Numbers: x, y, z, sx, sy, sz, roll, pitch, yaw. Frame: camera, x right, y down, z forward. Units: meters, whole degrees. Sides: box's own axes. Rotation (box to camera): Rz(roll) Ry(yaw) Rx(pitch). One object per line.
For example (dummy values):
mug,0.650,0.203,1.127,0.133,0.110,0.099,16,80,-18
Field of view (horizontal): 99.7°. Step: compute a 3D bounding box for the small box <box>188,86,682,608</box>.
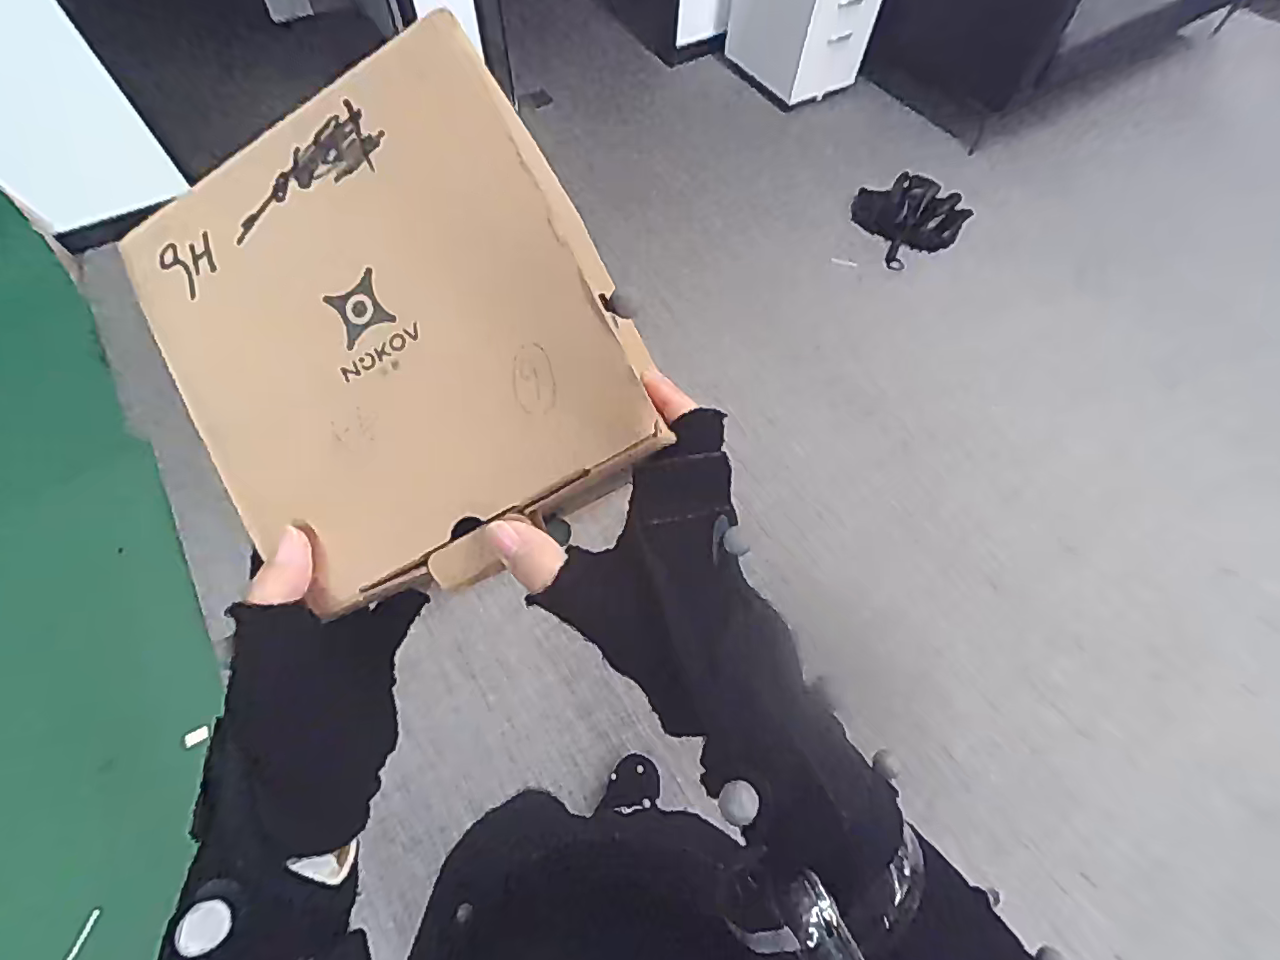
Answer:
small box,-0.089,-0.057,0.315,0.168,0.176,0.179,-30,86,10
